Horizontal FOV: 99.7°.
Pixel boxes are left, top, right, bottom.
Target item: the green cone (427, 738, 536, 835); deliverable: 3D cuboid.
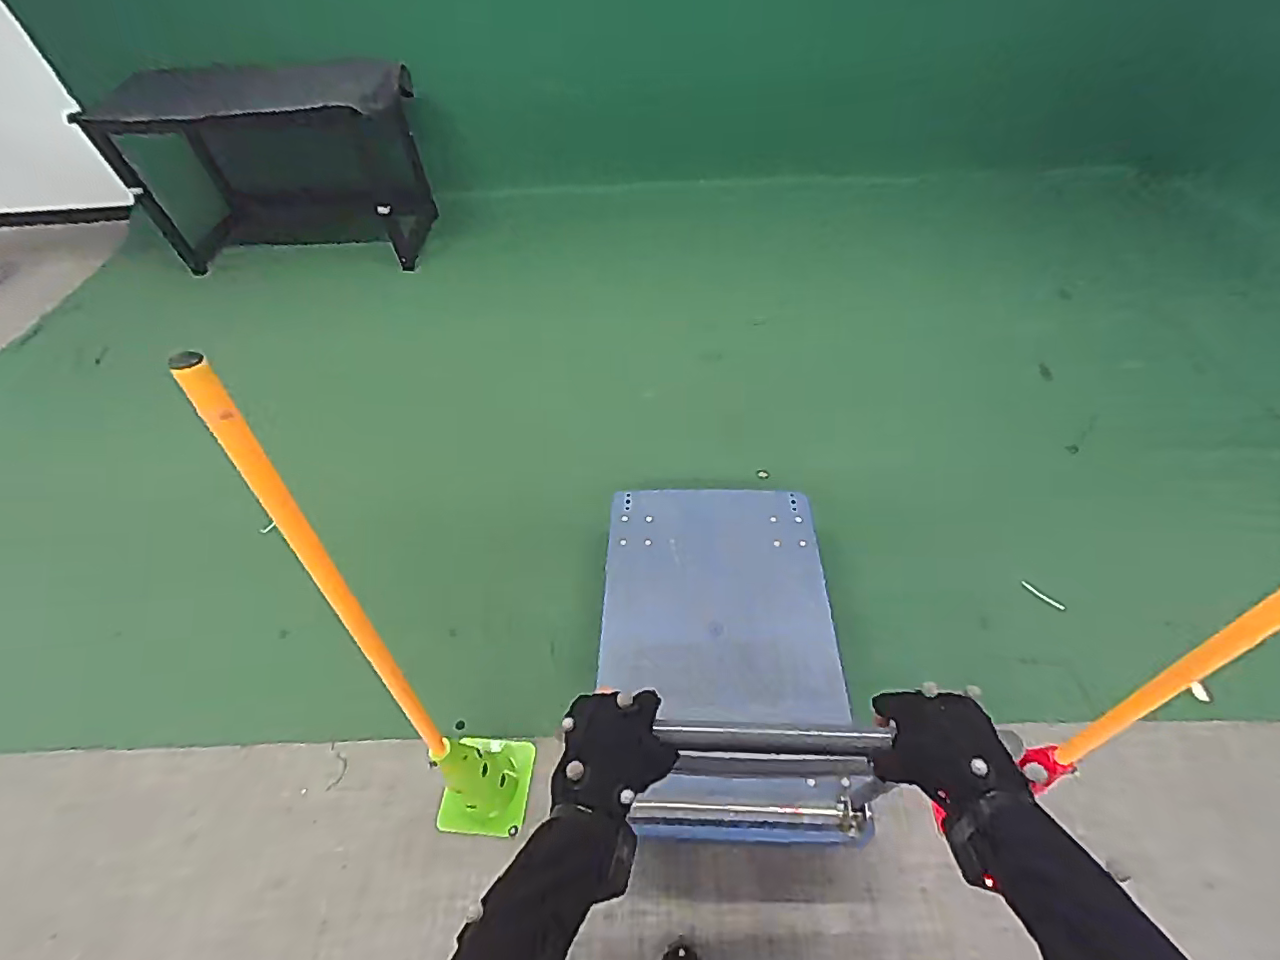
[{"bbox_3d":[-0.371,0.624,1.171,0.202,0.368,0.200,1,50,5],"label":"green cone"}]
